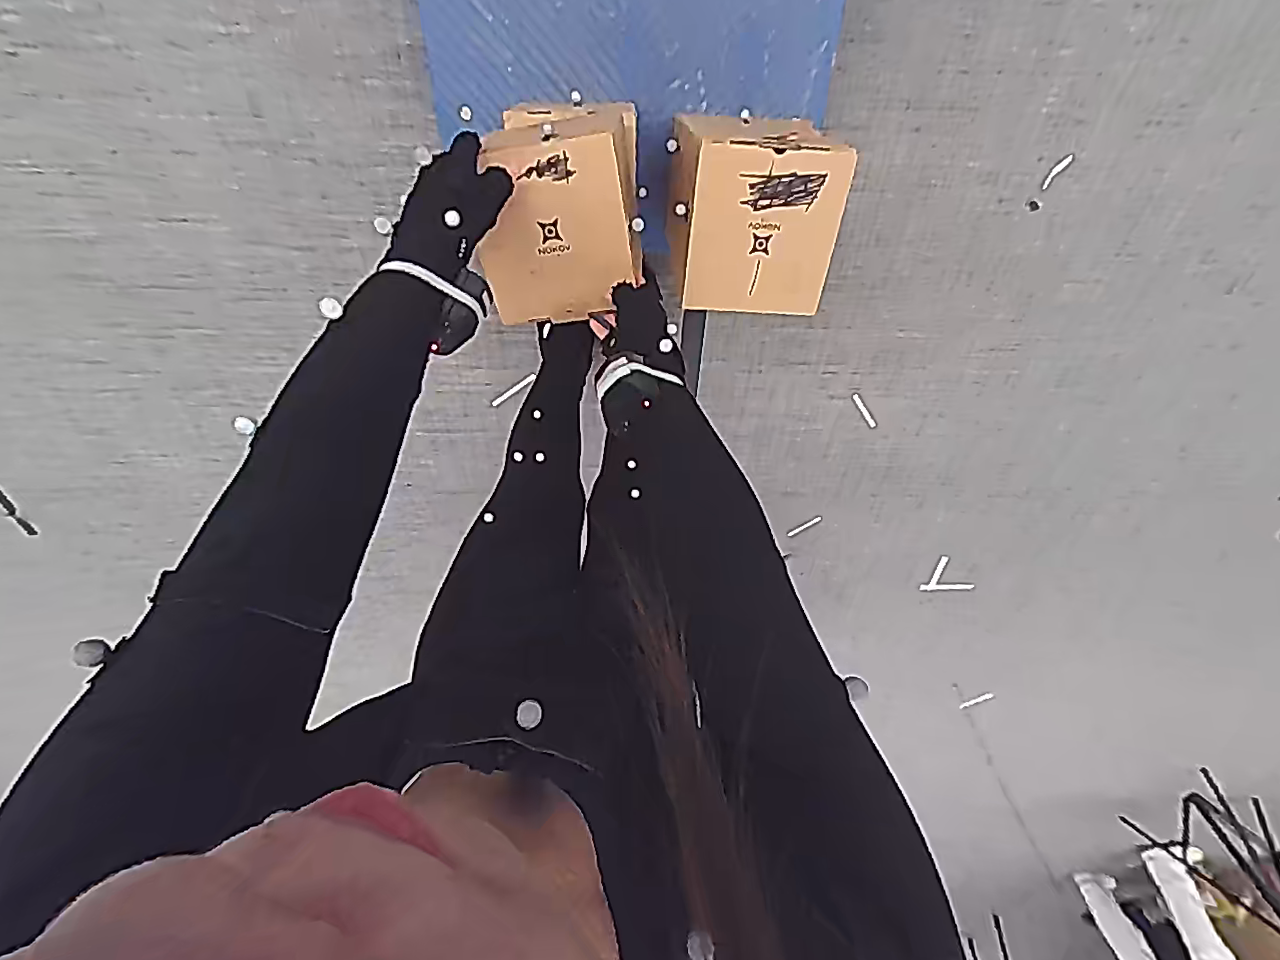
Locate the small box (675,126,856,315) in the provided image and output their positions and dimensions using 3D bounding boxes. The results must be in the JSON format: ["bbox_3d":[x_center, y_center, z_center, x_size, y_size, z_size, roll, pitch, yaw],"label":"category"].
[{"bbox_3d":[0.135,-0.322,0.666,0.168,0.176,0.179,2,129,-3],"label":"small box"}]

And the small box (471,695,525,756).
[{"bbox_3d":[-0.551,0.963,2.123,0.179,0.176,0.168,3,128,-2],"label":"small box"}]

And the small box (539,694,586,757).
[{"bbox_3d":[-0.300,0.965,2.126,0.168,0.176,0.179,1,128,-3],"label":"small box"}]

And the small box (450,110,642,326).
[{"bbox_3d":[-0.090,-0.305,0.632,0.168,0.176,0.179,-6,131,7],"label":"small box"}]

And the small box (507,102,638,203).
[{"bbox_3d":[-0.087,-0.433,0.782,0.168,0.176,0.179,-1,128,-2],"label":"small box"}]
